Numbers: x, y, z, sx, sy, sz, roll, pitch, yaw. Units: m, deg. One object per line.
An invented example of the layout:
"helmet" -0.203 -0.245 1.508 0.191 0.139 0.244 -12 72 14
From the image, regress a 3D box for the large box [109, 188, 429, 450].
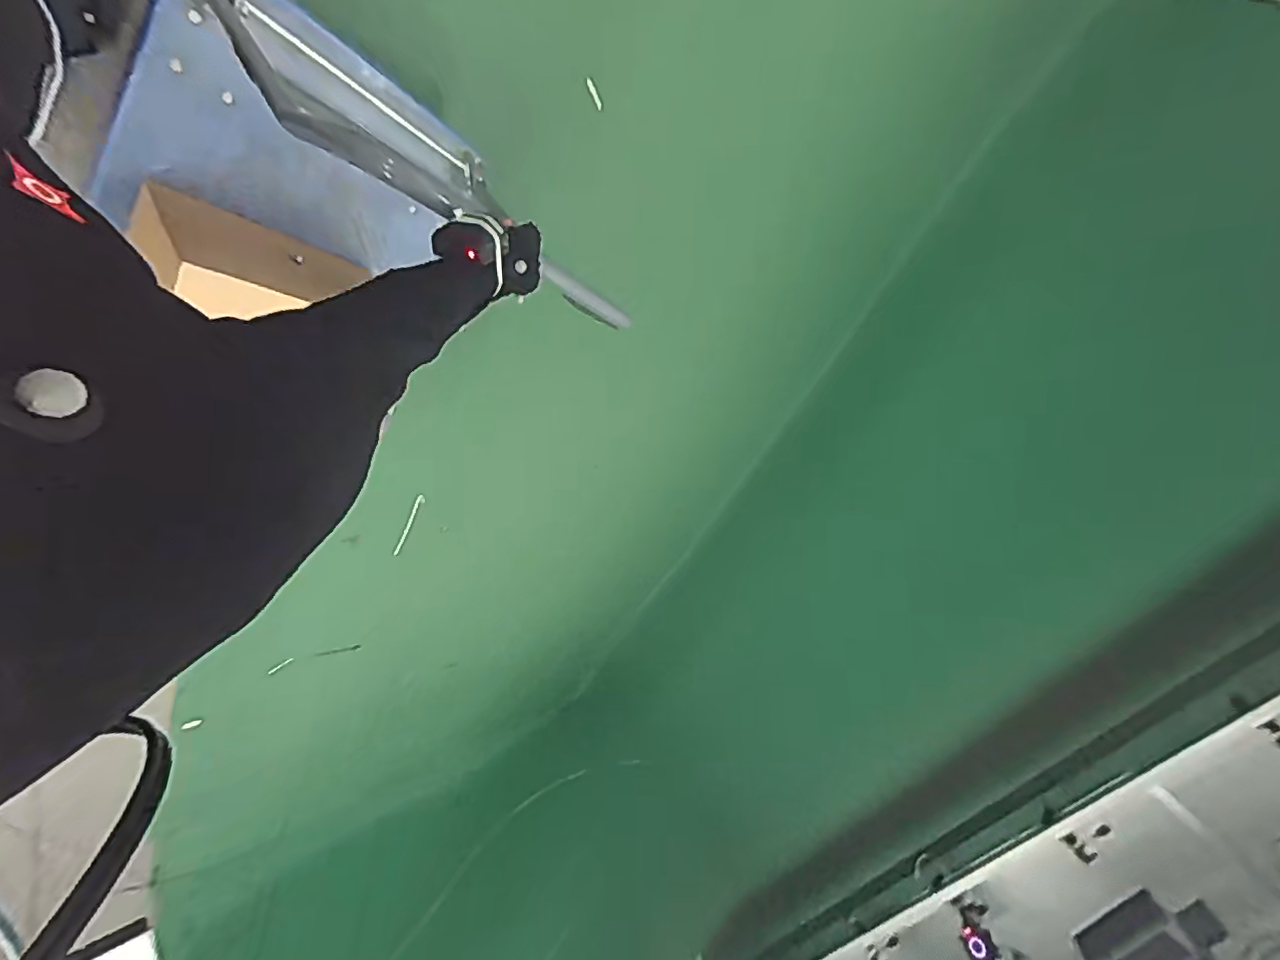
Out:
"large box" -0.717 -0.285 1.058 0.320 0.320 0.408 -53 151 20
